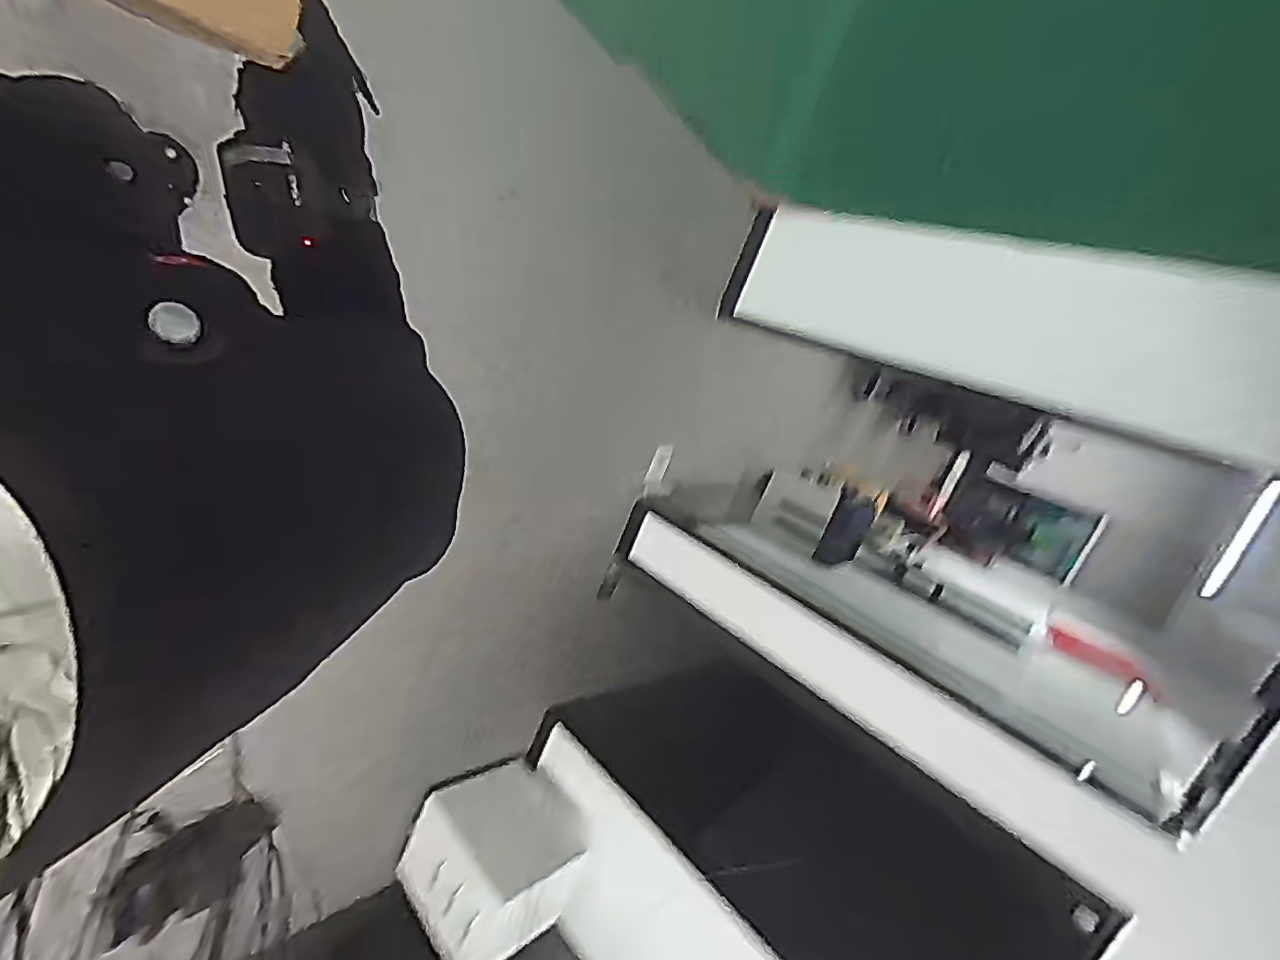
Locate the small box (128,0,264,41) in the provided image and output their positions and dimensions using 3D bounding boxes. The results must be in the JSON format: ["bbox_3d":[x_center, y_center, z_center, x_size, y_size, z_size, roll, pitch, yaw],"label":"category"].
[{"bbox_3d":[-0.181,-0.222,0.091,0.179,0.176,0.168,-4,124,-49],"label":"small box"}]
